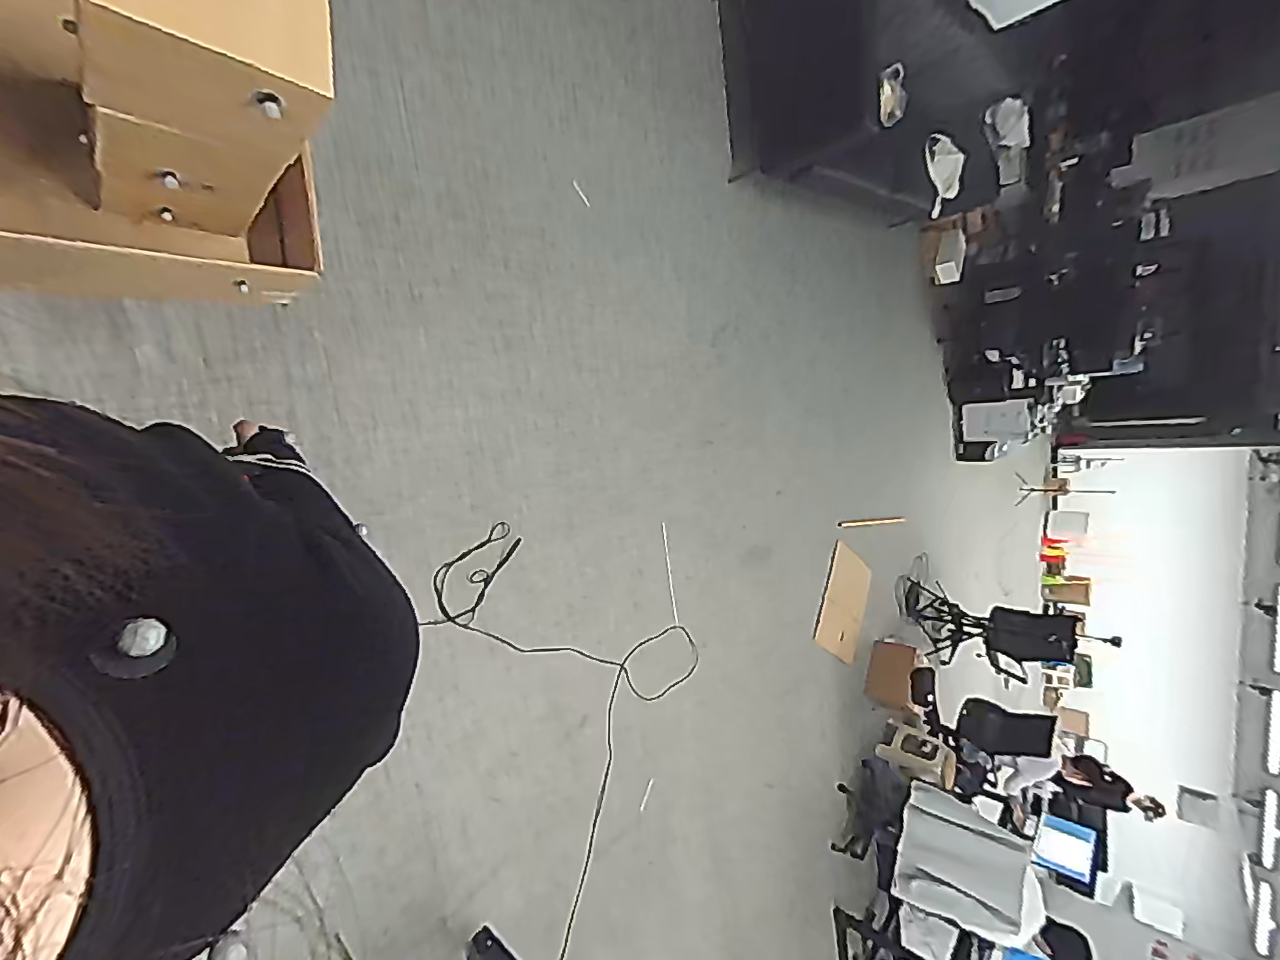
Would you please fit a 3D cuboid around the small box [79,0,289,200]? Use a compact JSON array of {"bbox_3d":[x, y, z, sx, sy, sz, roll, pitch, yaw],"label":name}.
[{"bbox_3d":[-0.529,-0.461,0.630,0.168,0.176,0.179,-7,98,-44],"label":"small box"}]
